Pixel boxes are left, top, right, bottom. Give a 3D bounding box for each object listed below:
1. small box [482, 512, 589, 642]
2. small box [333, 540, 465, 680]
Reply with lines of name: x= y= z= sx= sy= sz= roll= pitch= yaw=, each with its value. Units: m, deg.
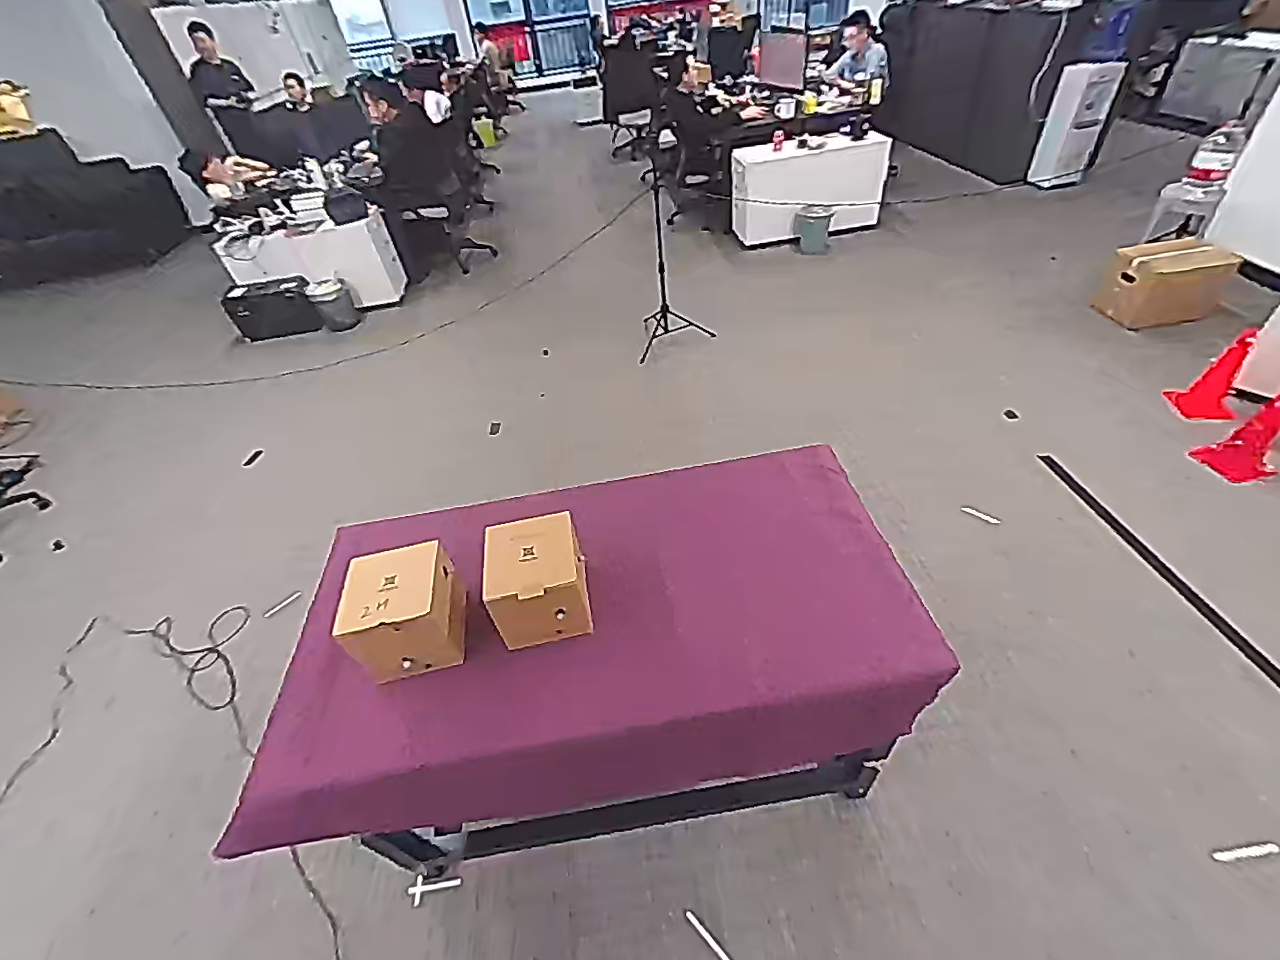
small box: x=-0.196 y=0.192 z=1.041 sx=0.168 sy=0.176 sz=0.179 roll=-11 pitch=43 yaw=-3
small box: x=-0.440 y=0.245 z=1.020 sx=0.168 sy=0.176 sz=0.179 roll=-13 pitch=43 yaw=-4
